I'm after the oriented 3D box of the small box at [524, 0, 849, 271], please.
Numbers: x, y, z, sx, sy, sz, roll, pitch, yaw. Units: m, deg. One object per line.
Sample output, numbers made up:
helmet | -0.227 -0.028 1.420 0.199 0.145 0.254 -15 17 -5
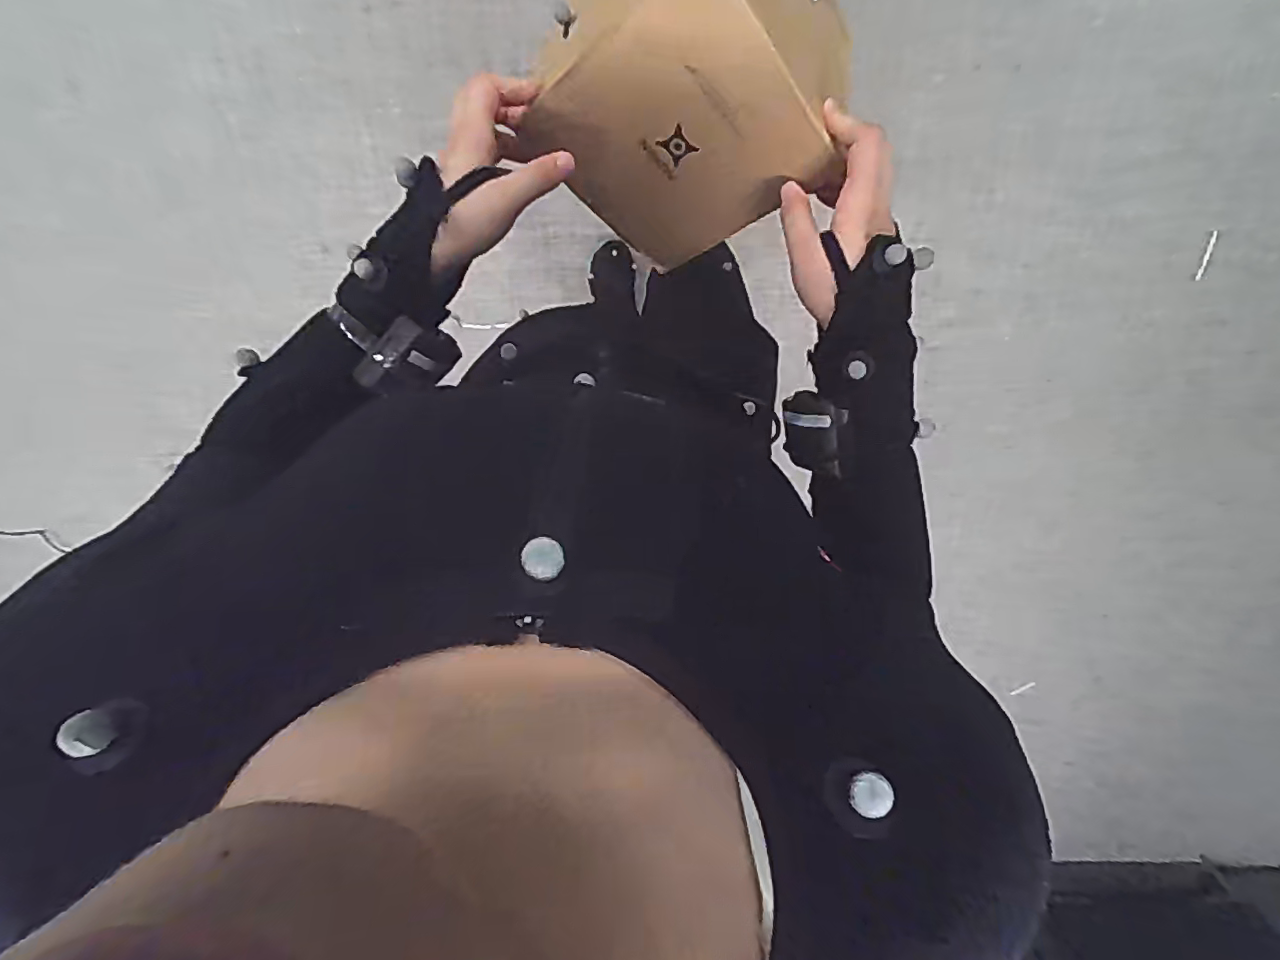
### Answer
small box | 0.043 -0.306 0.411 0.168 0.176 0.179 28 151 -37
